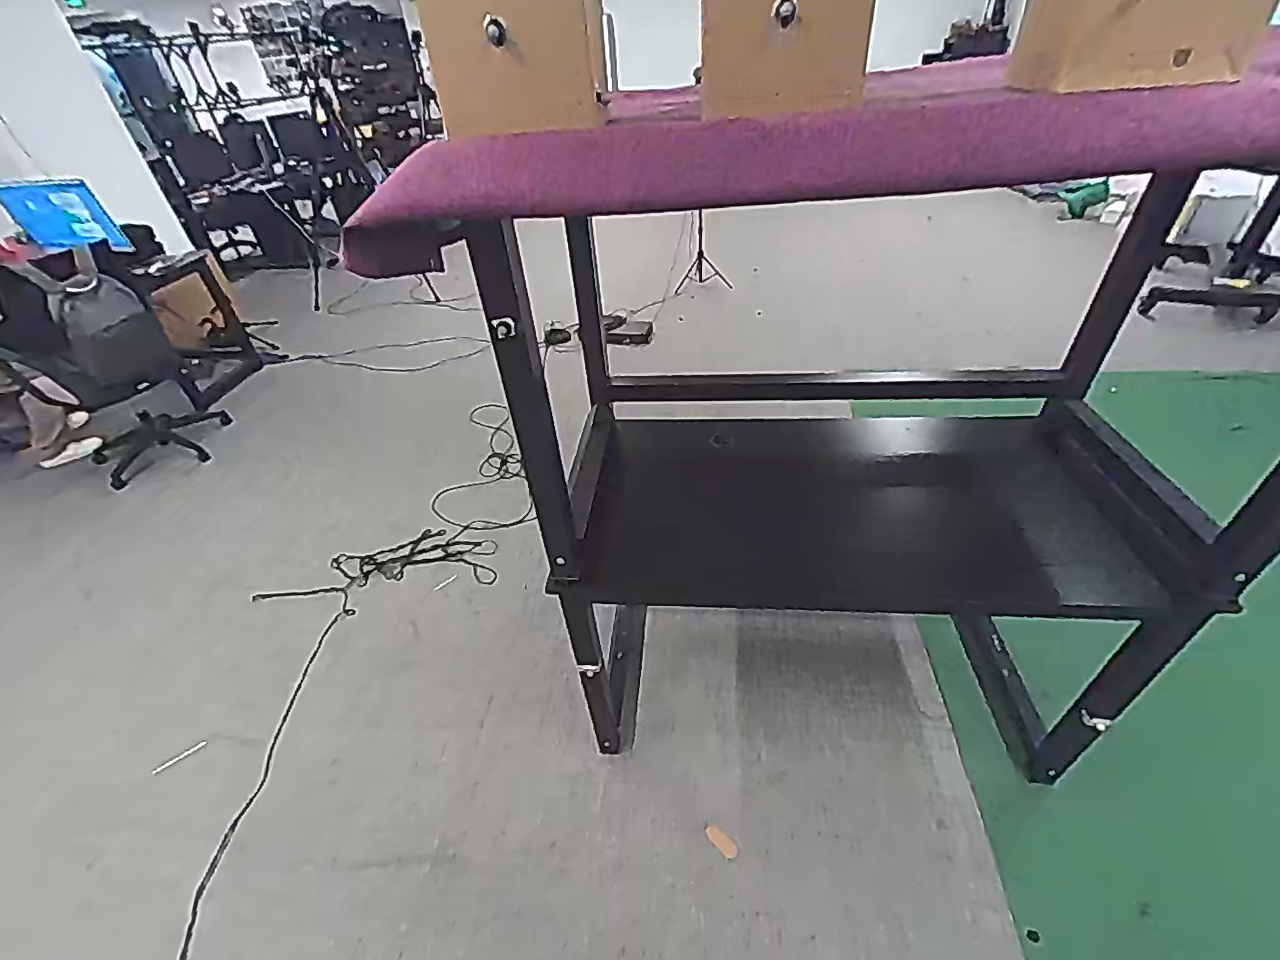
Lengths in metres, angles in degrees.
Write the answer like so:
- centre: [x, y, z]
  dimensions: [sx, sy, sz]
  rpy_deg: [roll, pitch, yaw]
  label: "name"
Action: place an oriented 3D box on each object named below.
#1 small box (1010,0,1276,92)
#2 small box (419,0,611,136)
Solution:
- centre: [0.522, -0.511, 0.558]
  dimensions: [0.168, 0.176, 0.179]
  rpy_deg: [4, 38, 11]
  label: "small box"
- centre: [-0.131, -0.508, 0.619]
  dimensions: [0.179, 0.176, 0.168]
  rpy_deg: [-1, 39, 5]
  label: "small box"
